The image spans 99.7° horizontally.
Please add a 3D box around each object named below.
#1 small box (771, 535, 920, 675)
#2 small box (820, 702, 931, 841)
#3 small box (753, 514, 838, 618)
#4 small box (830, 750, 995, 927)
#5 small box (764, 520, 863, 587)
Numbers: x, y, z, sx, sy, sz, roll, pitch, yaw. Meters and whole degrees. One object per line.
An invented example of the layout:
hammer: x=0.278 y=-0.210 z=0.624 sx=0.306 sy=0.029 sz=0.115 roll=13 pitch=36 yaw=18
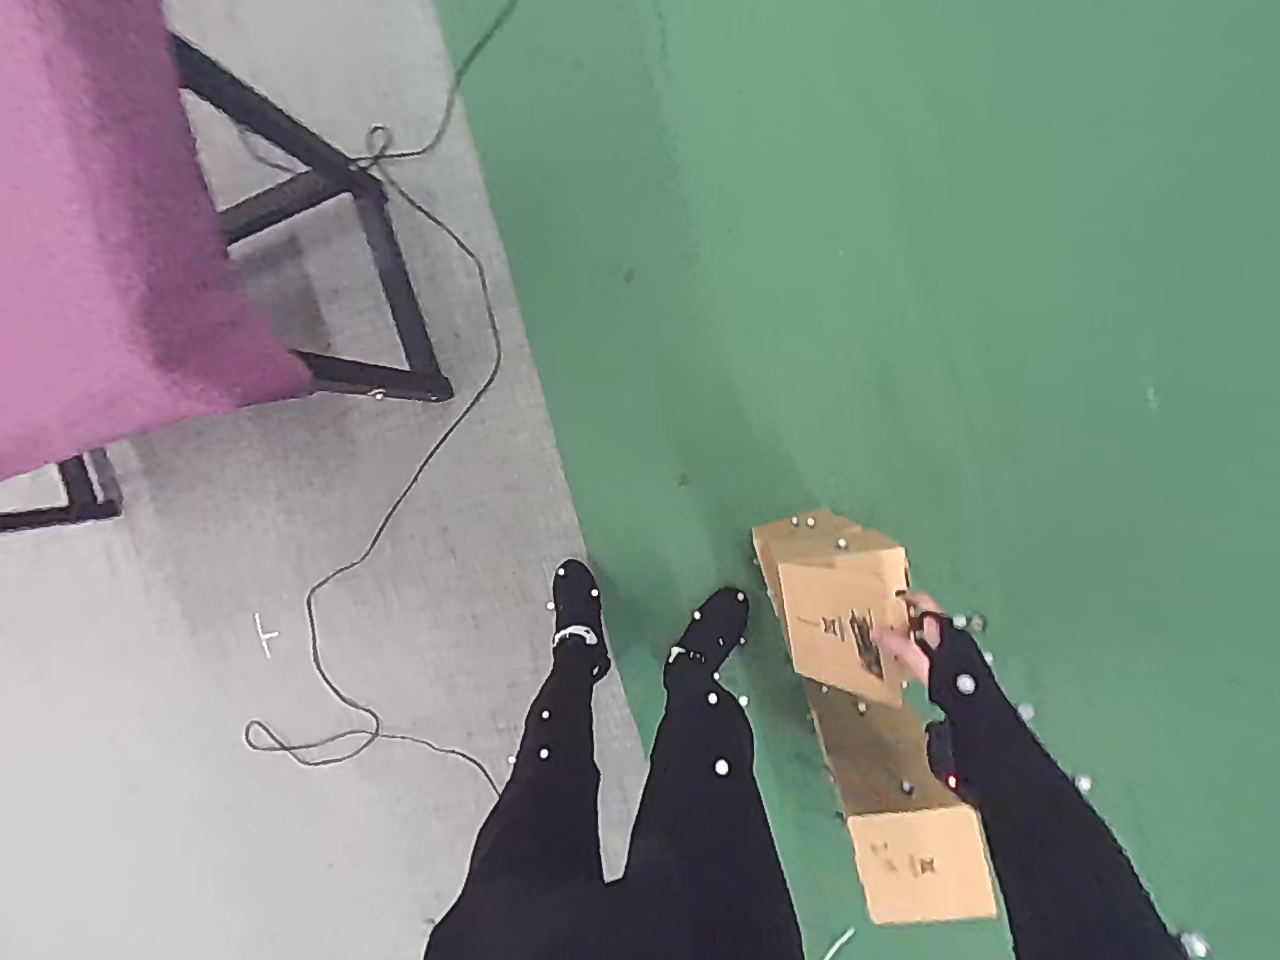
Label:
small box: x=0.308 y=0.186 z=0.844 sx=0.179 sy=0.176 sz=0.168 roll=-8 pitch=92 yaw=10
small box: x=0.443 y=0.539 z=1.009 sx=0.179 sy=0.176 sz=0.168 roll=-14 pitch=93 yaw=13
small box: x=0.349 y=0.178 z=1.168 sx=0.179 sy=0.176 sz=0.168 roll=-17 pitch=90 yaw=10
small box: x=0.413 y=0.548 z=0.847 sx=0.179 sy=0.176 sz=0.168 roll=-12 pitch=92 yaw=12
small box: x=0.336 y=0.186 z=1.005 sx=0.168 sy=0.176 sz=0.179 roll=-17 pitch=90 yaw=9
